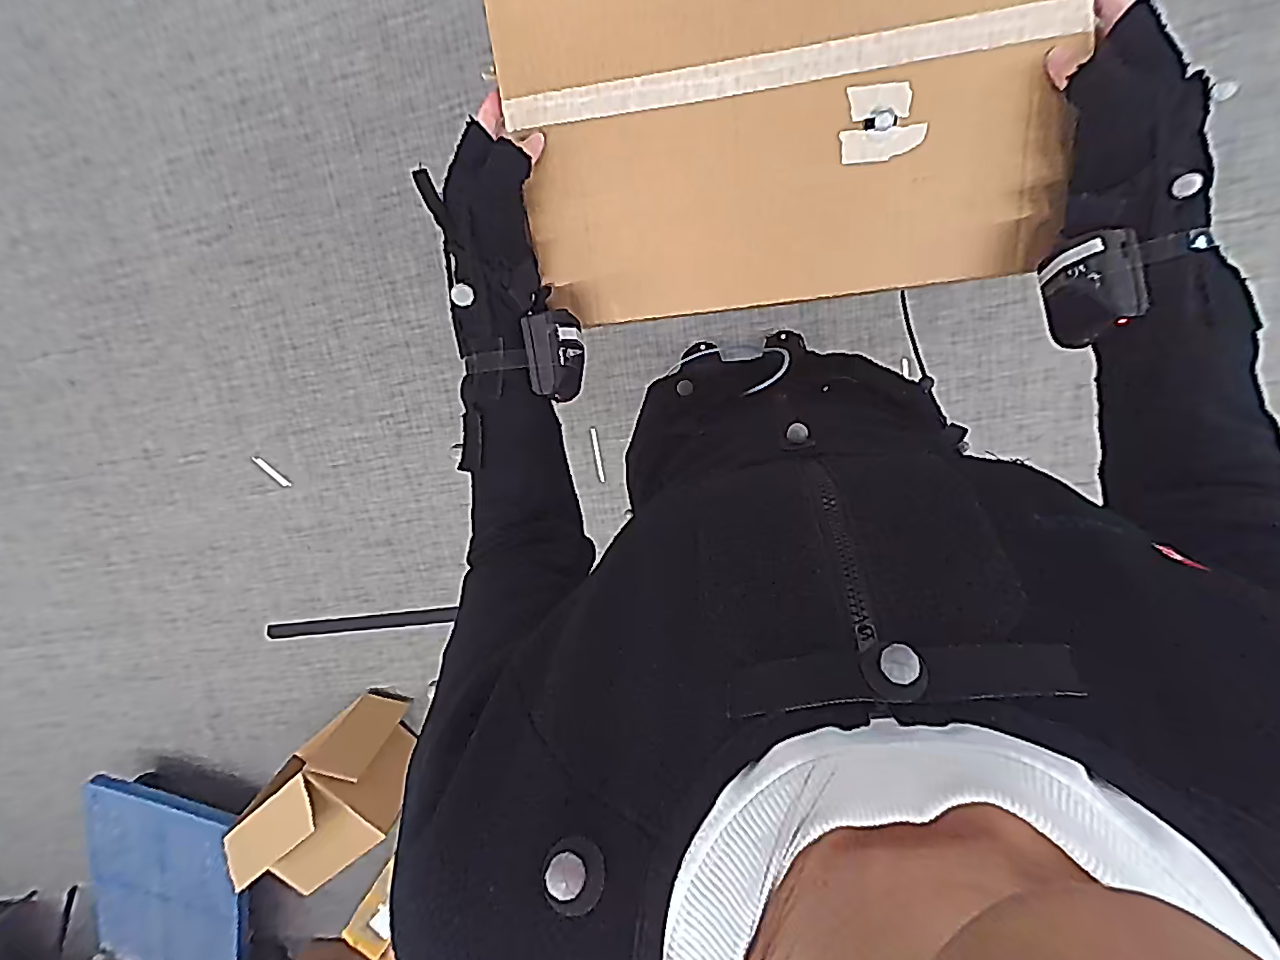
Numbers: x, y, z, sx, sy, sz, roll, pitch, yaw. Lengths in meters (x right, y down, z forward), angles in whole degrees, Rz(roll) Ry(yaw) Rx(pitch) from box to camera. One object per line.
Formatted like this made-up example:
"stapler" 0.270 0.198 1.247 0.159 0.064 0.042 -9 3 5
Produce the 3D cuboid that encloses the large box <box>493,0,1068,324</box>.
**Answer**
"large box" 0.108 -0.342 0.537 0.408 0.320 0.320 -6 107 6
